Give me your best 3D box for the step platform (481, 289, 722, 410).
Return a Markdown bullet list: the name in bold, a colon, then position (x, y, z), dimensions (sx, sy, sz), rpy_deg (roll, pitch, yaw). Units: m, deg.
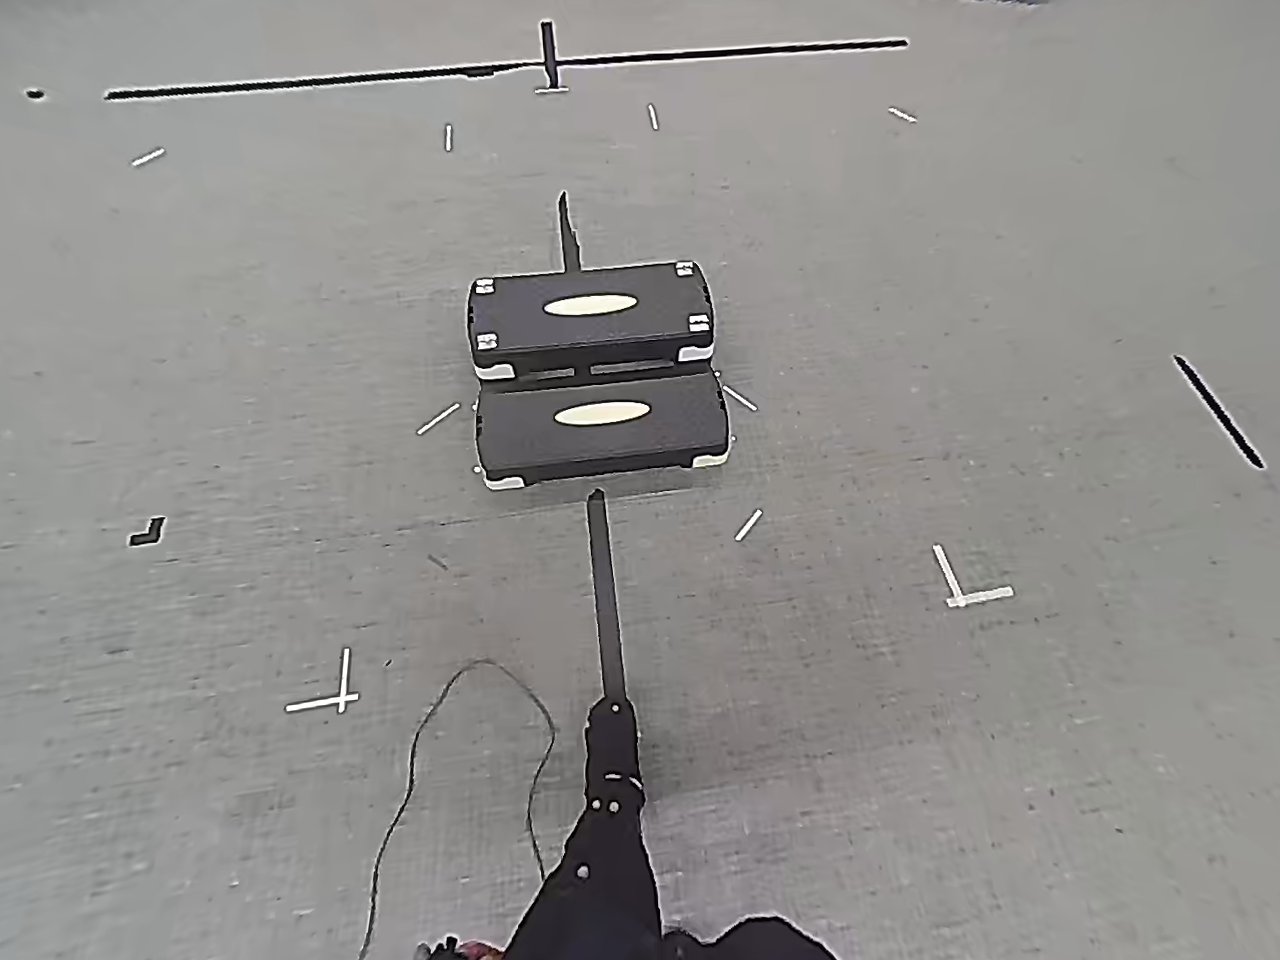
- **step platform**: position (-0.108, -0.384, 1.570), dimensions (0.684, 0.204, 0.286), rpy_deg (-3, 62, -3)
